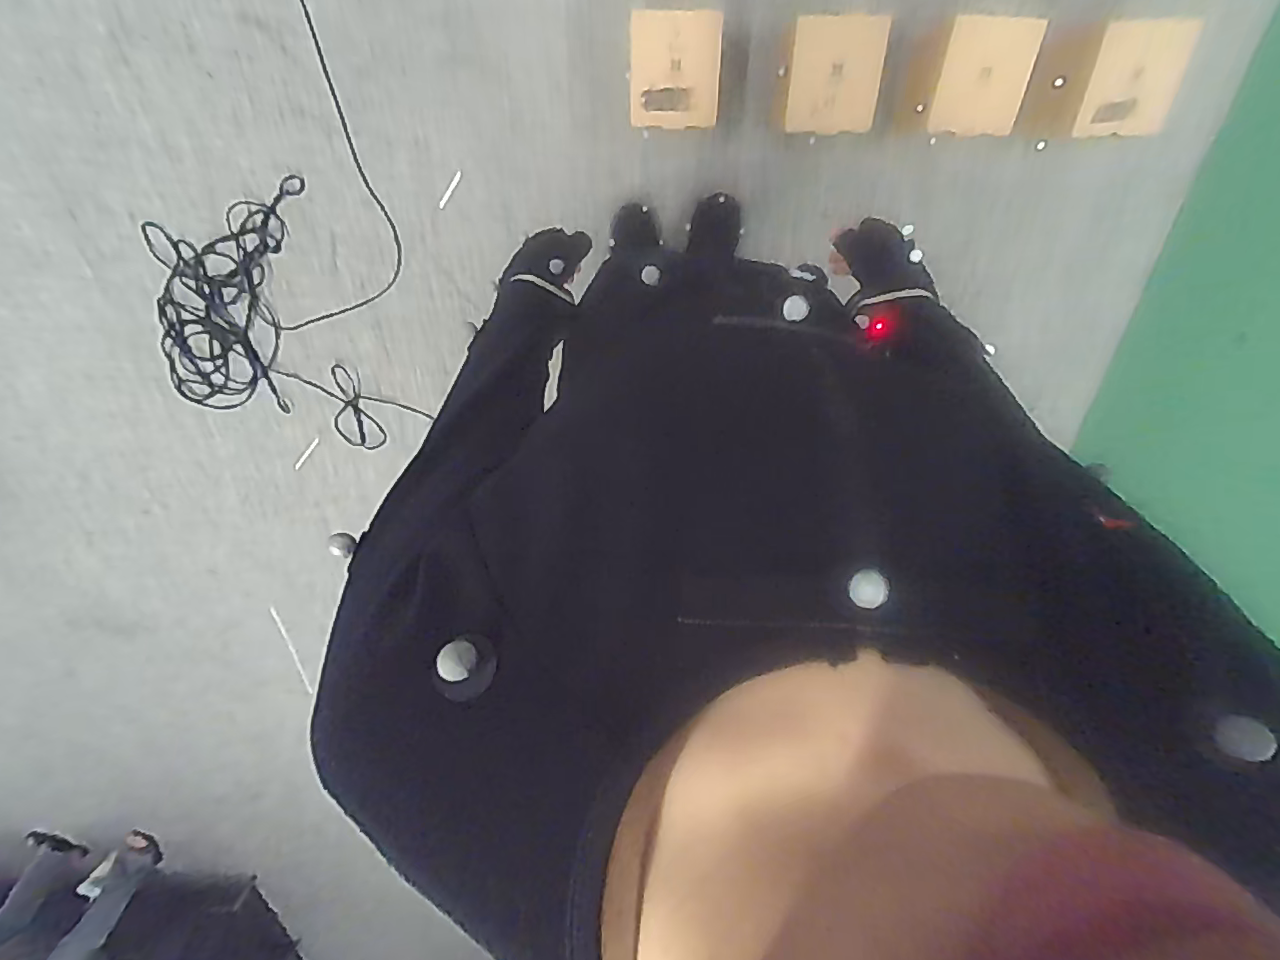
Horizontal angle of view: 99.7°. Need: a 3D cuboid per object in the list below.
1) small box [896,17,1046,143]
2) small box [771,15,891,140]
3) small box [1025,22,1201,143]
[{"bbox_3d":[0.627,-0.768,1.054,0.168,0.176,0.179,3,121,0],"label":"small box"},{"bbox_3d":[0.359,-0.774,1.054,0.168,0.176,0.179,2,120,2],"label":"small box"},{"bbox_3d":[0.896,-0.760,1.050,0.168,0.176,0.179,0,120,1],"label":"small box"}]
